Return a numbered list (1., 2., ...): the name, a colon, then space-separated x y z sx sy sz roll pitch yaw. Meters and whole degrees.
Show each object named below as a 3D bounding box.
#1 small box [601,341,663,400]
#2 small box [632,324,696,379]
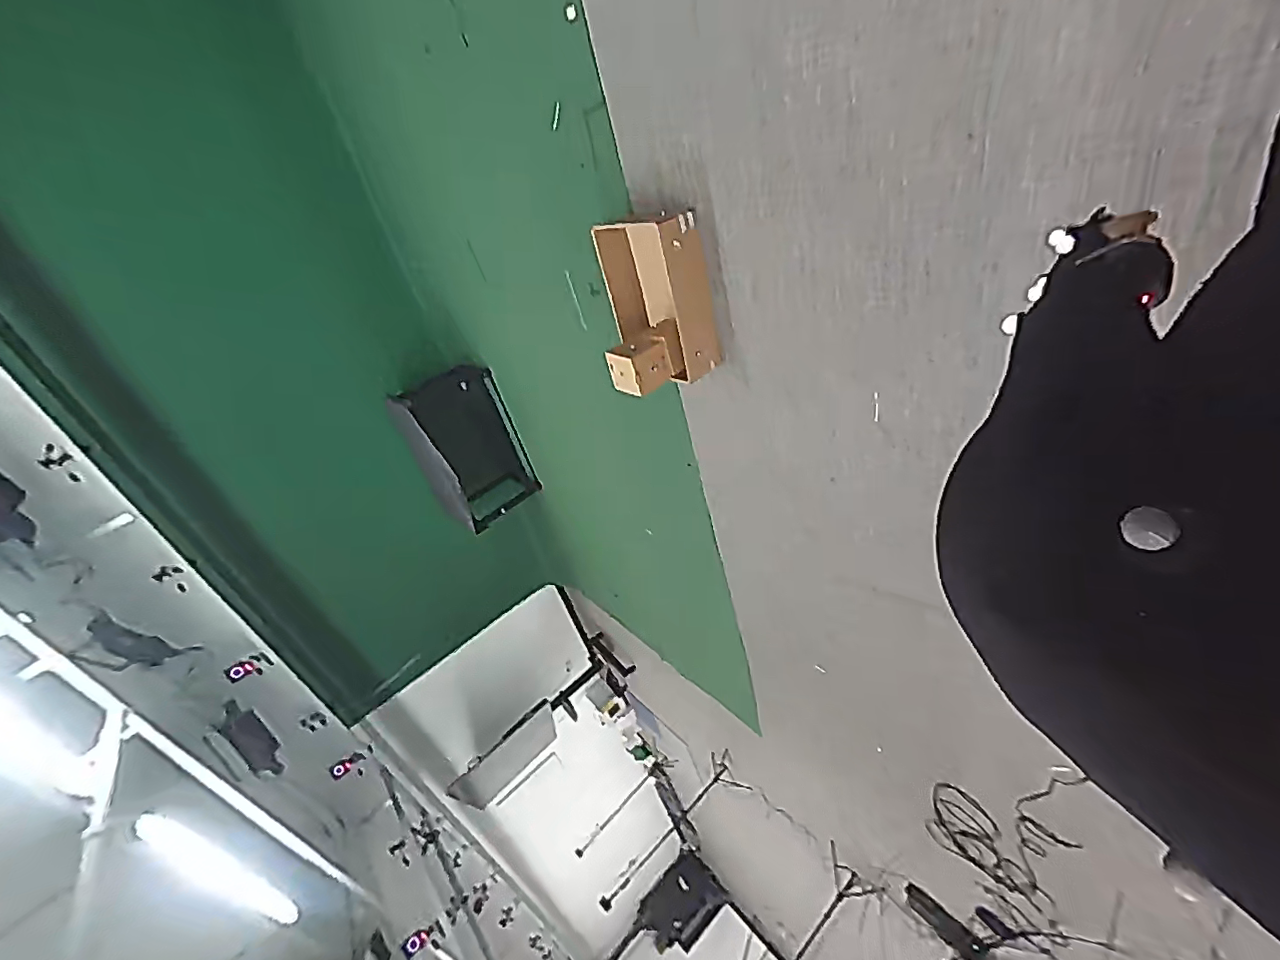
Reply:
1. small box: -0.024 -0.442 2.157 0.179 0.176 0.168 25 141 43
2. small box: 0.100 -0.531 2.218 0.179 0.176 0.168 20 137 47
